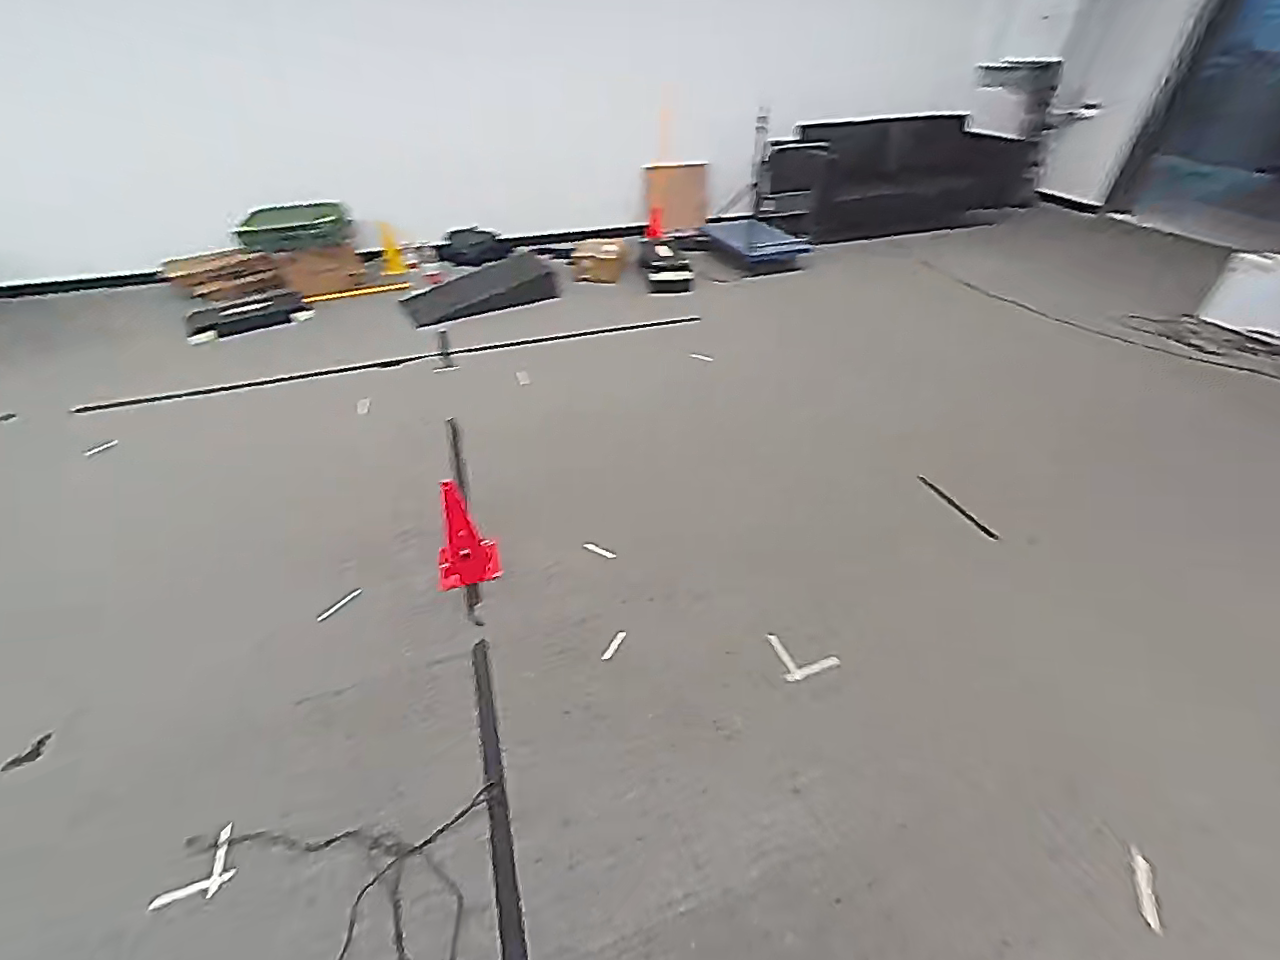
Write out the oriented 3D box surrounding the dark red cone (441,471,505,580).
[{"bbox_3d":[-0.579,0.128,1.758,0.201,0.394,0.202,-13,42,-14],"label":"dark red cone"}]
